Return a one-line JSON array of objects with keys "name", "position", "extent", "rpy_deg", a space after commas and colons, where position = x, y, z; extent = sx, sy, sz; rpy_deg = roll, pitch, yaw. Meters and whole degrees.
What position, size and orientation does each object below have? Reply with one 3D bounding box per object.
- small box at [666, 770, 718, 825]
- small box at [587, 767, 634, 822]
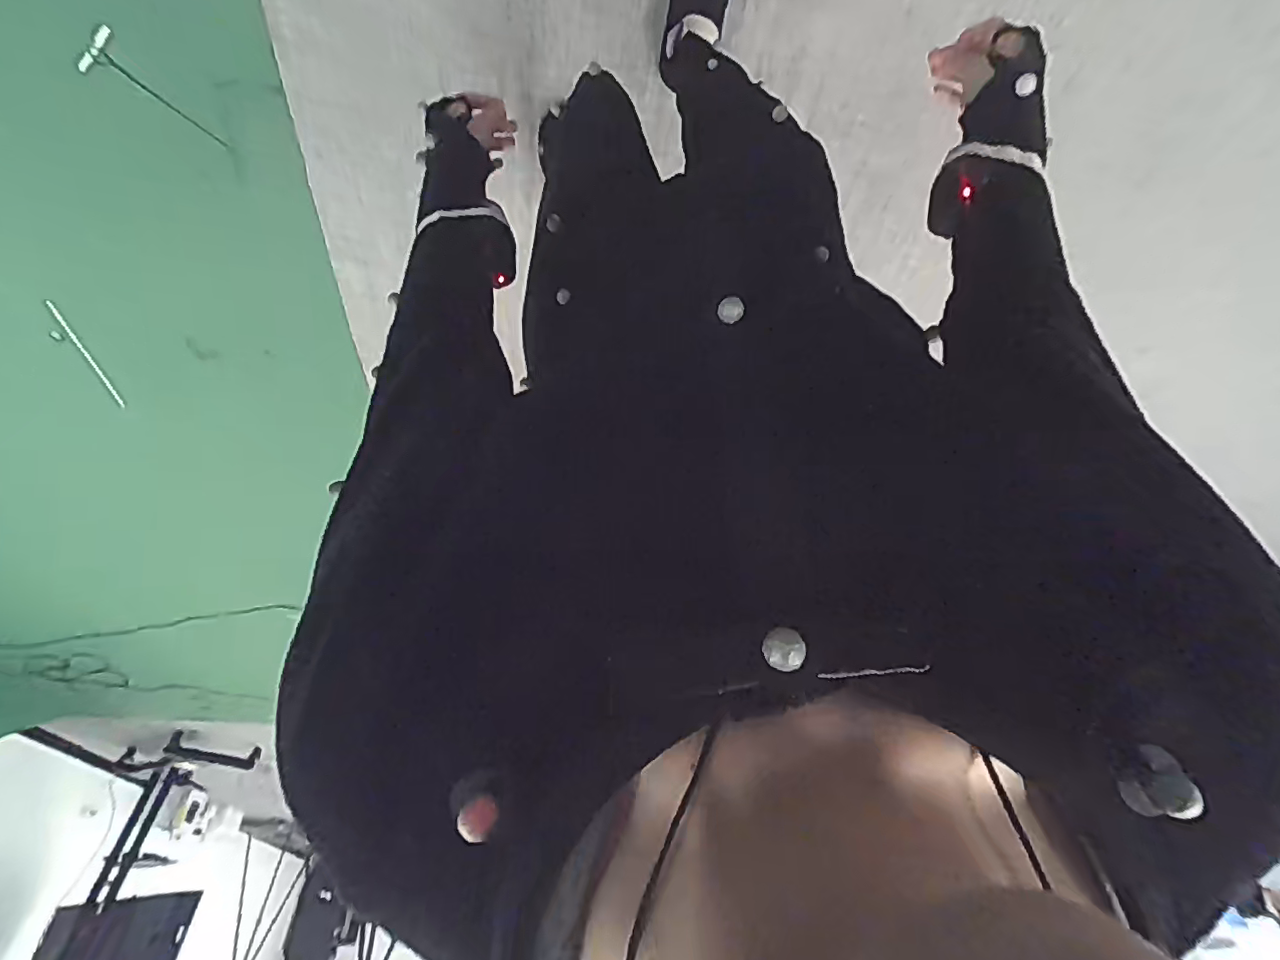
[{"name": "small box", "position": [0.208, 1.312, 2.236], "extent": [0.179, 0.176, 0.168], "rpy_deg": [6, 138, -8]}, {"name": "small box", "position": [-0.121, 1.274, 2.188], "extent": [0.168, 0.176, 0.179], "rpy_deg": [7, 138, -9]}]
